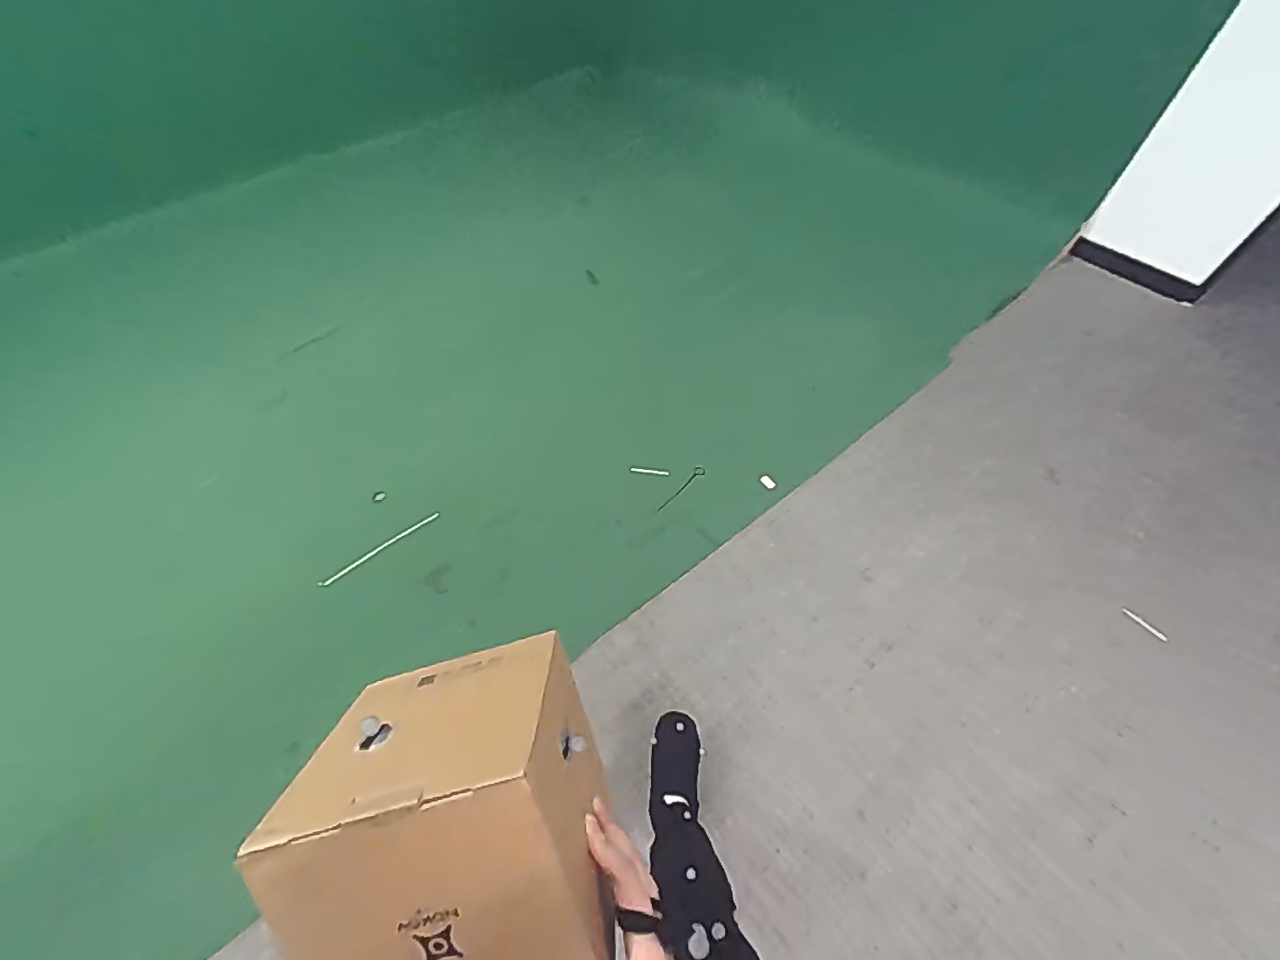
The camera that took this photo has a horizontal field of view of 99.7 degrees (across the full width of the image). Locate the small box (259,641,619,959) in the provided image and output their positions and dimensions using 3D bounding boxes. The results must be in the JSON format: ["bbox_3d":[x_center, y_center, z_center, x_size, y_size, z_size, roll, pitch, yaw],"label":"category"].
[{"bbox_3d":[-0.118,0.238,0.394,0.168,0.176,0.179,-16,101,0],"label":"small box"}]
